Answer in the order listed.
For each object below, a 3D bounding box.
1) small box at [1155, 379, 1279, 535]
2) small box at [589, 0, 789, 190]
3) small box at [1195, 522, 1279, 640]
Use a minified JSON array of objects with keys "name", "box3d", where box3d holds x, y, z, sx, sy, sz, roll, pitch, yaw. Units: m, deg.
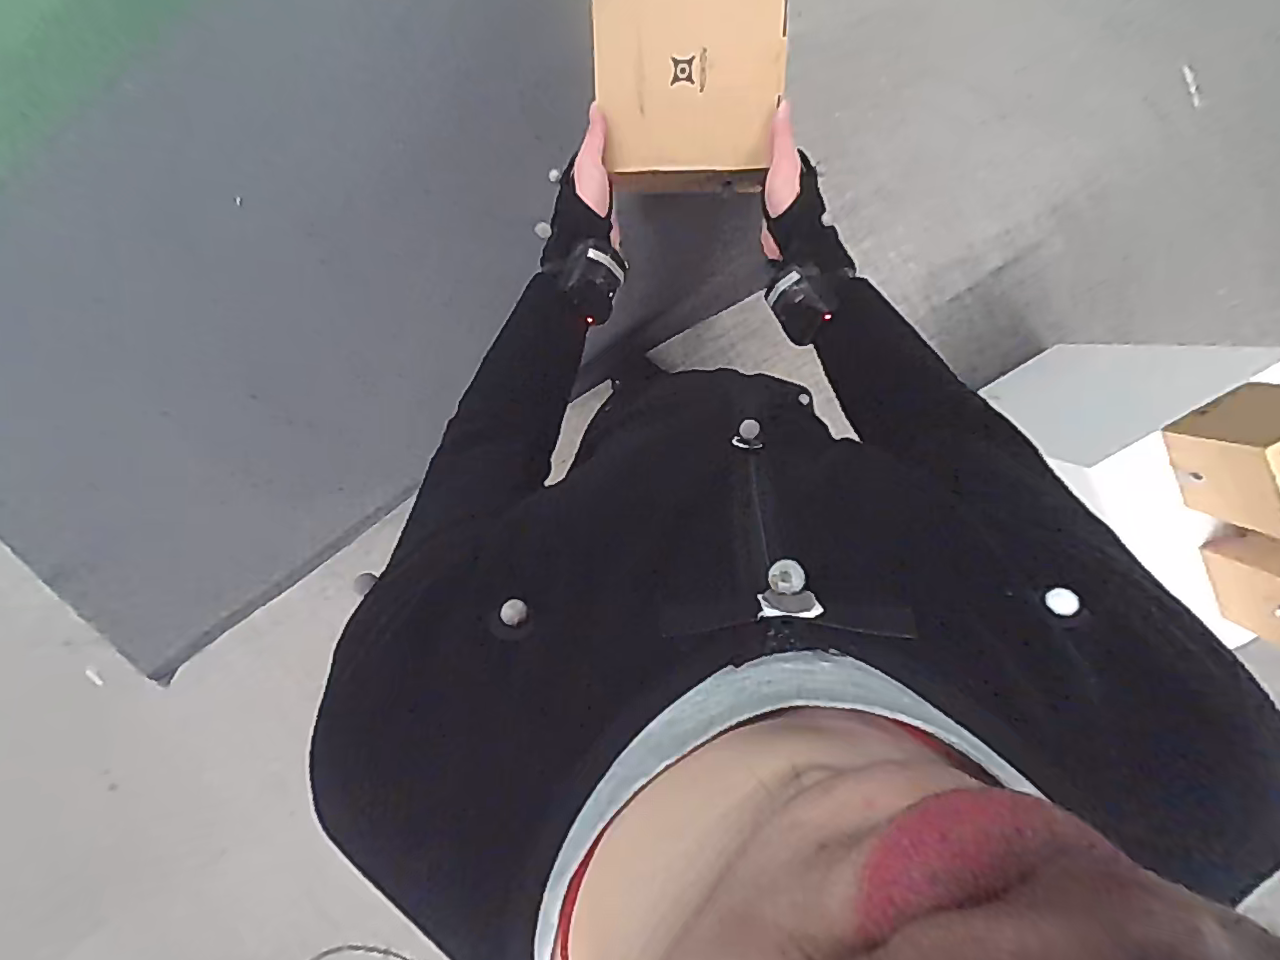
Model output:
[{"name":"small box","box3d":[1.012,-0.046,0.883,0.168,0.176,0.179,-31,106,6]},{"name":"small box","box3d":[0.050,-0.406,0.561,0.179,0.176,0.168,3,111,7]},{"name":"small box","box3d":[1.142,0.170,0.946,0.168,0.176,0.179,-29,105,7]}]
